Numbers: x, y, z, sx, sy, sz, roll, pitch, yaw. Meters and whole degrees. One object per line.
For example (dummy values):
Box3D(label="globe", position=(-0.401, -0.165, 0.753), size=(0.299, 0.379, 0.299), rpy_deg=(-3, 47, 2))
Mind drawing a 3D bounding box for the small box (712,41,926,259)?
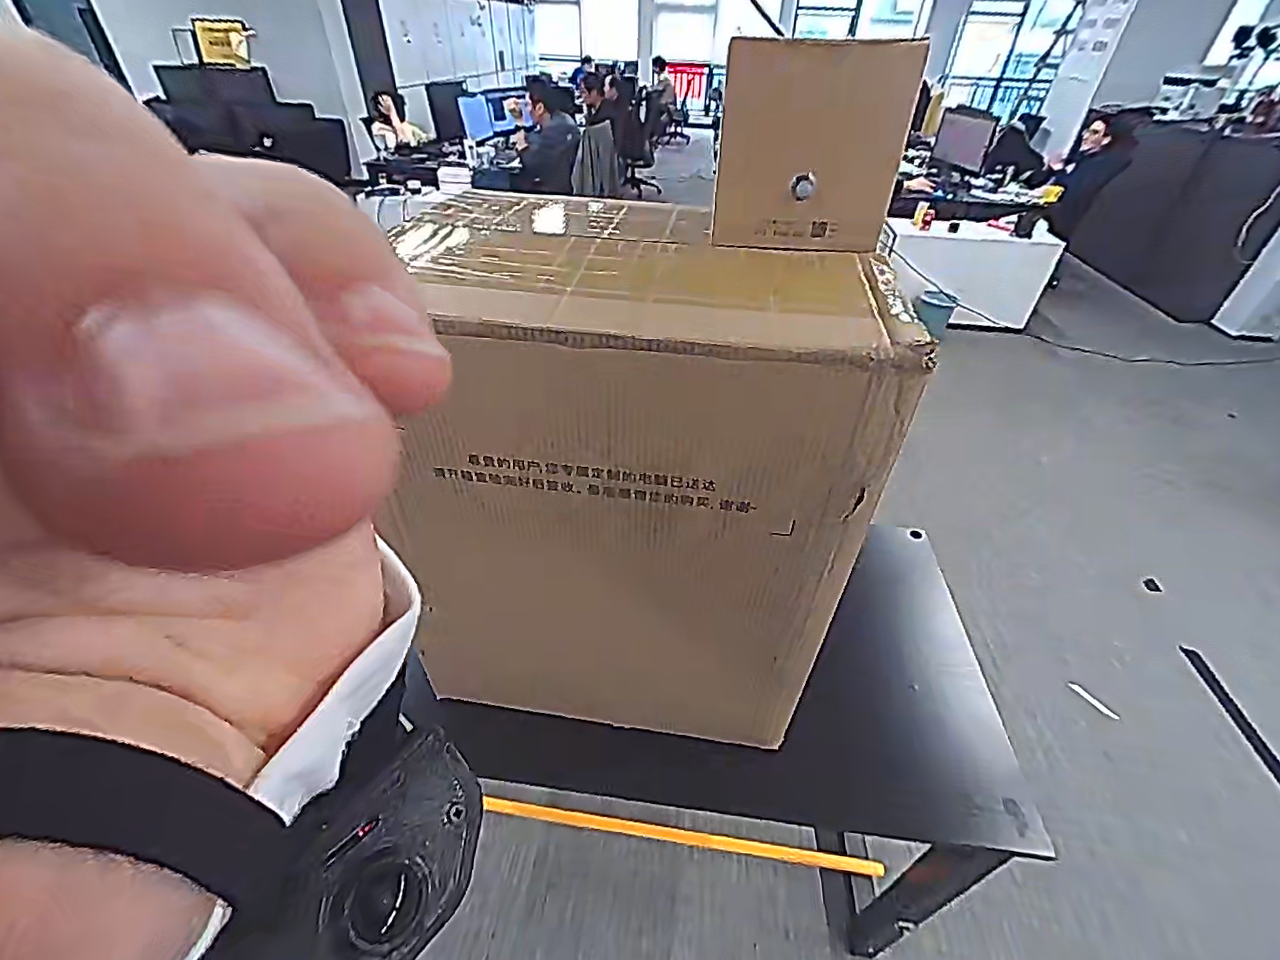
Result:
Box3D(label="small box", position=(0.165, -0.344, 0.566), size=(0.168, 0.176, 0.179), rpy_deg=(4, 37, 5))
